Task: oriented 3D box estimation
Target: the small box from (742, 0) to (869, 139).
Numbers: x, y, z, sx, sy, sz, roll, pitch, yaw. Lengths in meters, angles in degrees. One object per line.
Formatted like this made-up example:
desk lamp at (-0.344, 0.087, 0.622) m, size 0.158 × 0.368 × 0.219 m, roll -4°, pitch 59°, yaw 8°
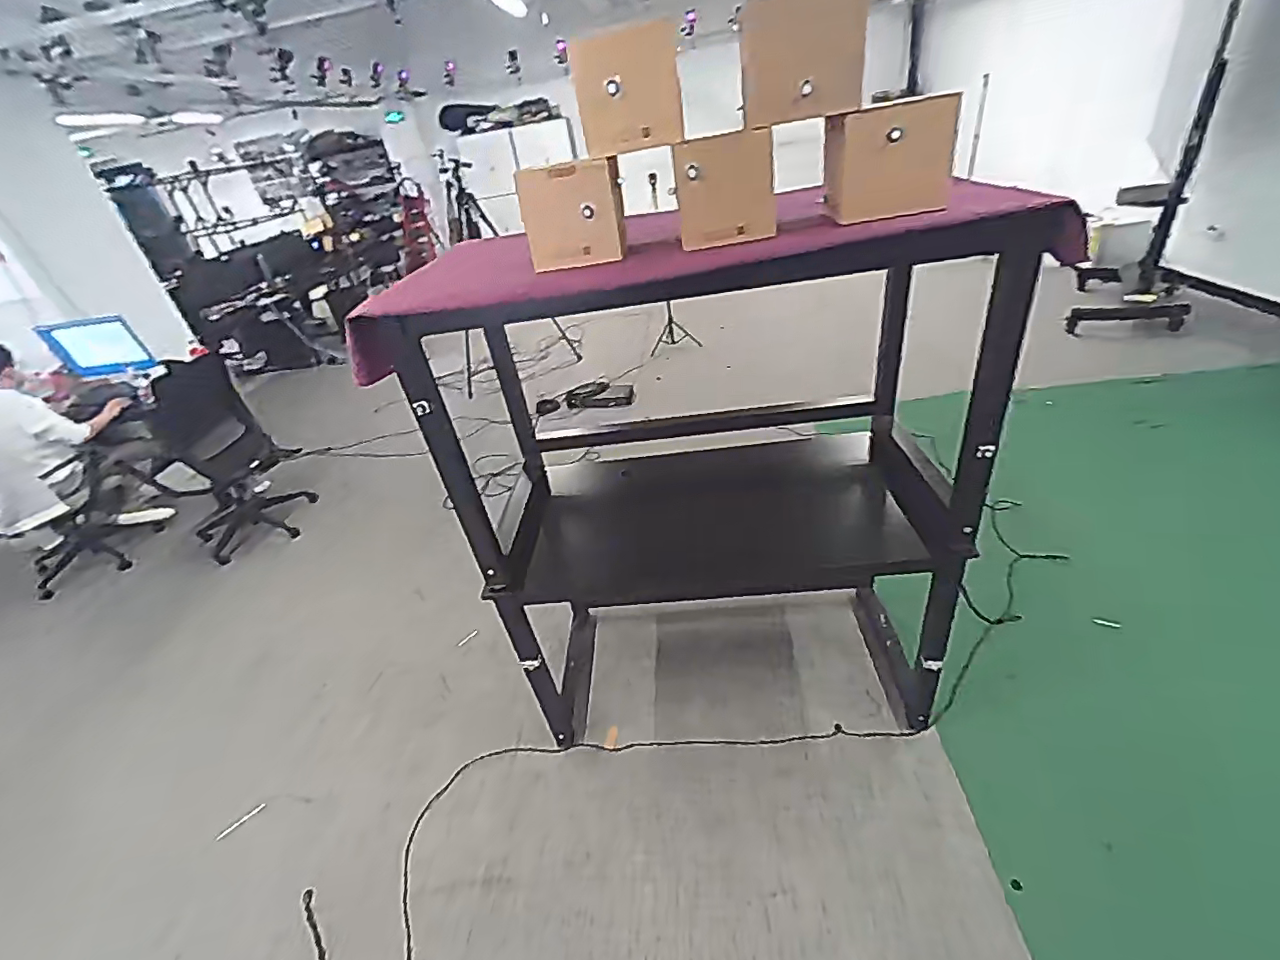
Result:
small box at (0.262, -0.678, 0.894) m, size 0.179 × 0.176 × 0.168 m, roll -4°, pitch 32°, yaw 8°

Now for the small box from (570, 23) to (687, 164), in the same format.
small box at (-0.010, -0.655, 0.938) m, size 0.168 × 0.176 × 0.179 m, roll -7°, pitch 32°, yaw 8°

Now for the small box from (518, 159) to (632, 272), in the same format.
small box at (-0.113, -0.501, 1.028) m, size 0.168 × 0.176 × 0.179 m, roll -4°, pitch 32°, yaw 8°

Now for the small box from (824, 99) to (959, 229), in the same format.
small box at (0.433, -0.557, 0.963) m, size 0.179 × 0.176 × 0.168 m, roll -6°, pitch 33°, yaw 7°
